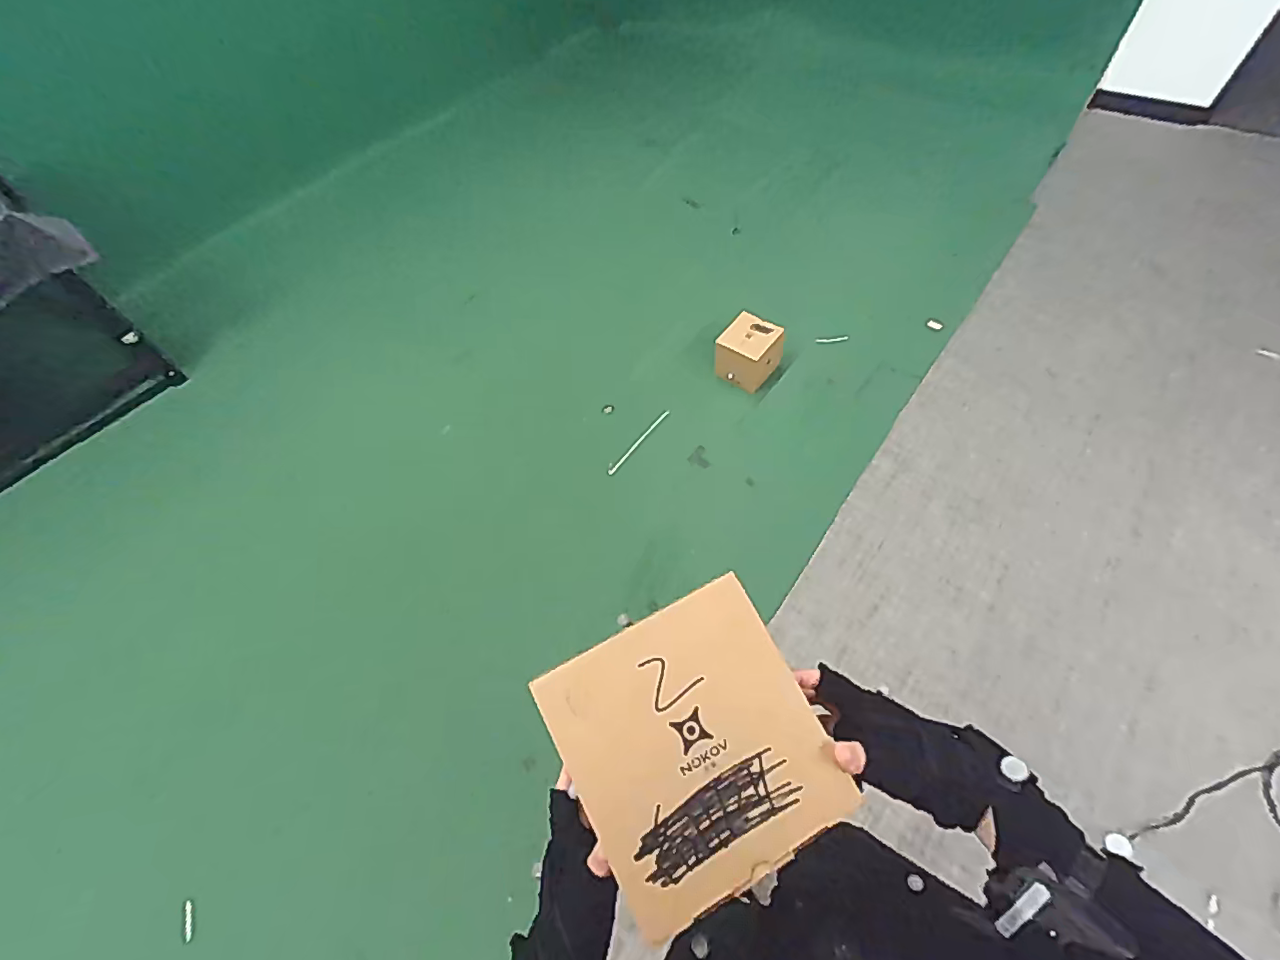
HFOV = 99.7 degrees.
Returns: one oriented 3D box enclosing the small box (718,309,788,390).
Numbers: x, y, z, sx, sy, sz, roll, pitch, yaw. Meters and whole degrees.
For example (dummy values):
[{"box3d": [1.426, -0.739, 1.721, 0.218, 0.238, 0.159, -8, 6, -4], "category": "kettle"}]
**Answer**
[{"box3d": [0.378, -0.443, 1.847, 0.168, 0.176, 0.179, 32, 67, 23], "category": "small box"}]
